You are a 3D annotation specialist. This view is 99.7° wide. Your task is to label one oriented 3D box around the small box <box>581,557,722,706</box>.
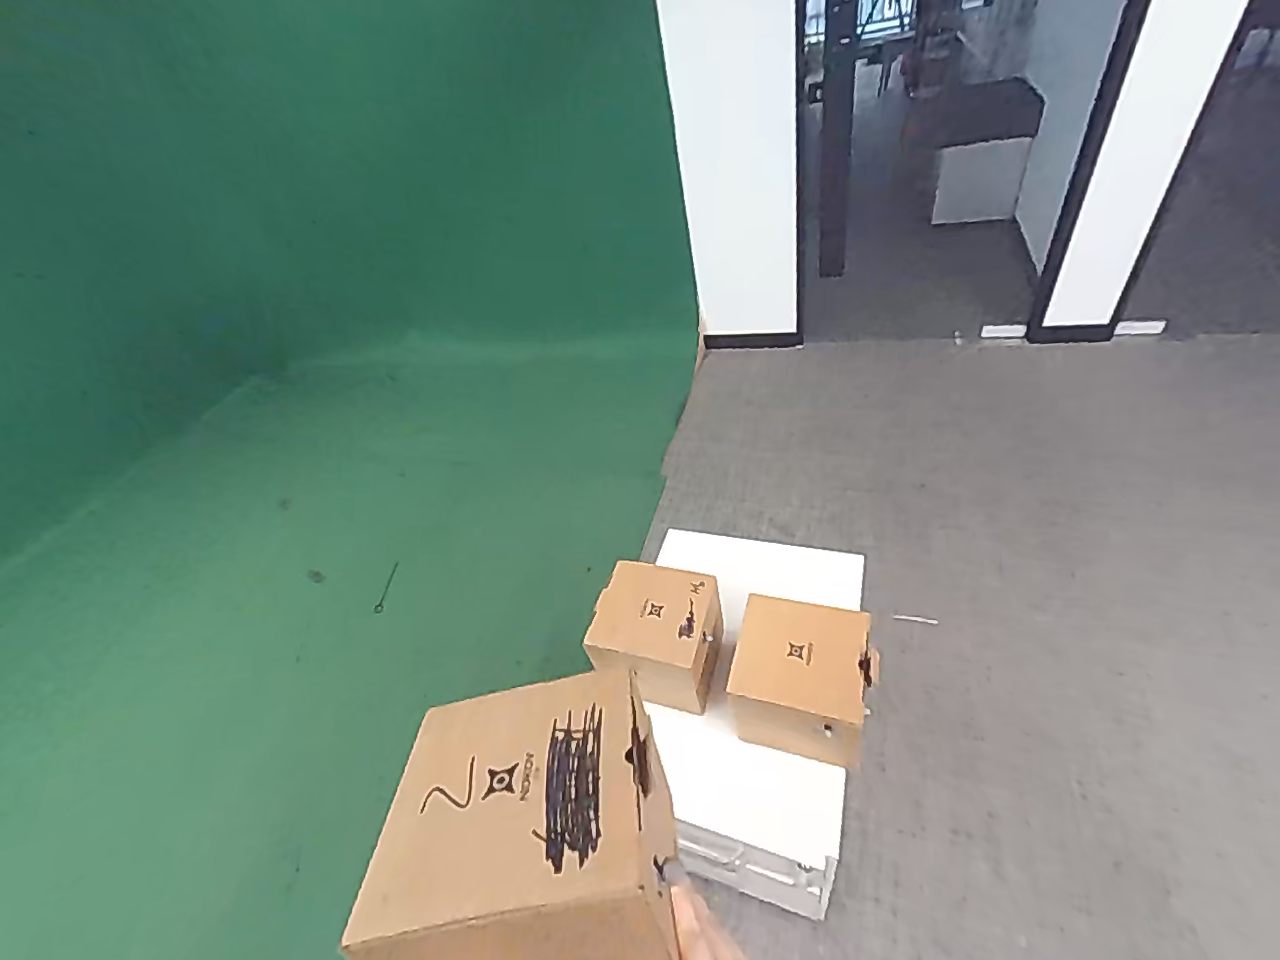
[{"bbox_3d":[0.029,0.253,0.900,0.179,0.176,0.168,6,48,21],"label":"small box"}]
